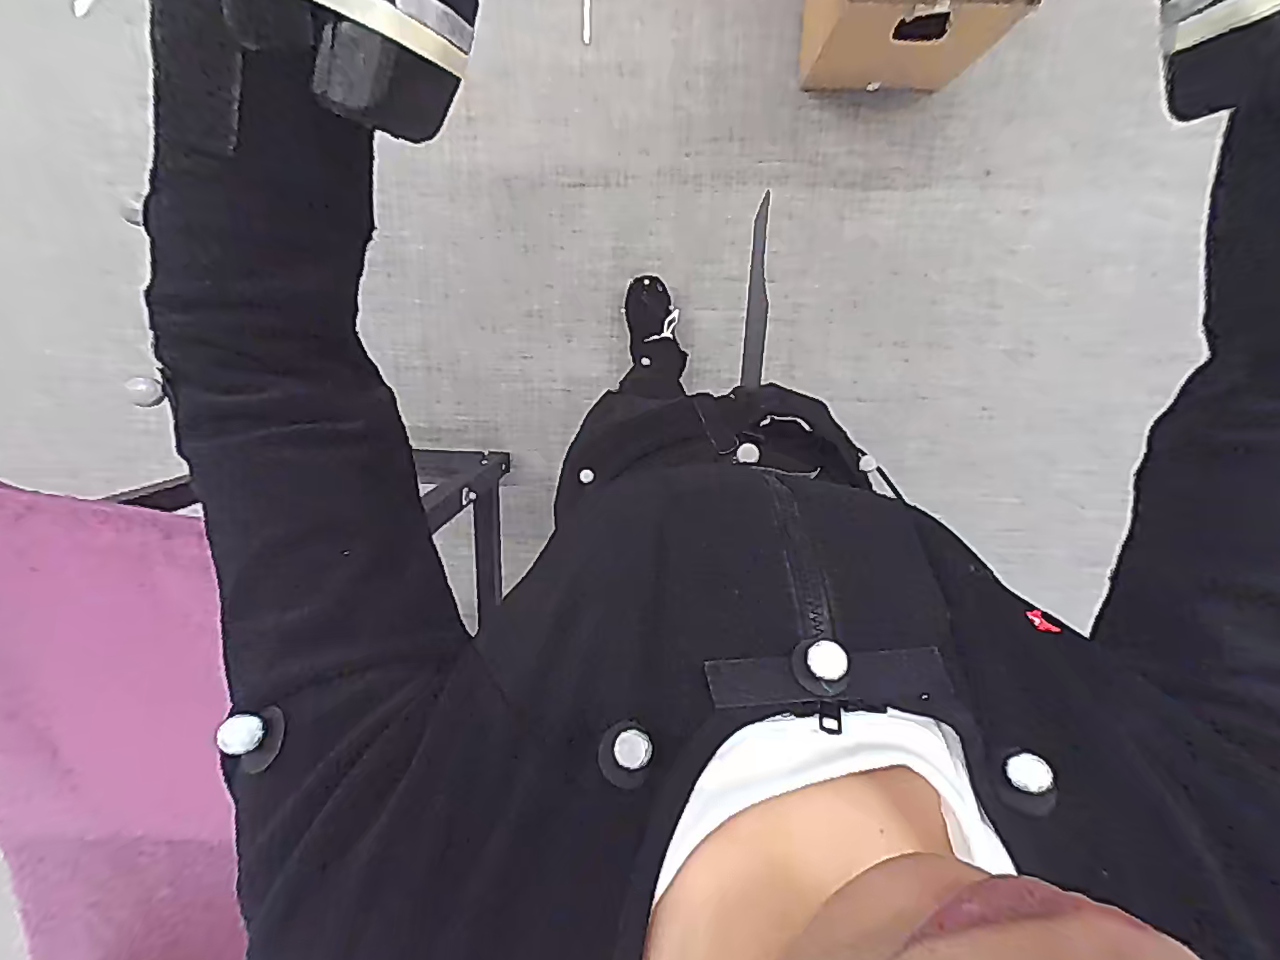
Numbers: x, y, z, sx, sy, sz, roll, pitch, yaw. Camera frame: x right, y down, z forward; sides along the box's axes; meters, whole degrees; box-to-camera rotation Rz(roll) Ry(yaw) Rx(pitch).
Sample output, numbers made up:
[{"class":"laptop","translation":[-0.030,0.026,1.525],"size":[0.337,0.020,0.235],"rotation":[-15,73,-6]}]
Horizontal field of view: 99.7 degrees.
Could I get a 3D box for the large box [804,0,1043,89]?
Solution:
[{"class":"large box","translation":[0.497,-0.994,0.966],"size":[0.320,0.320,0.408],"rotation":[1,105,2]}]
